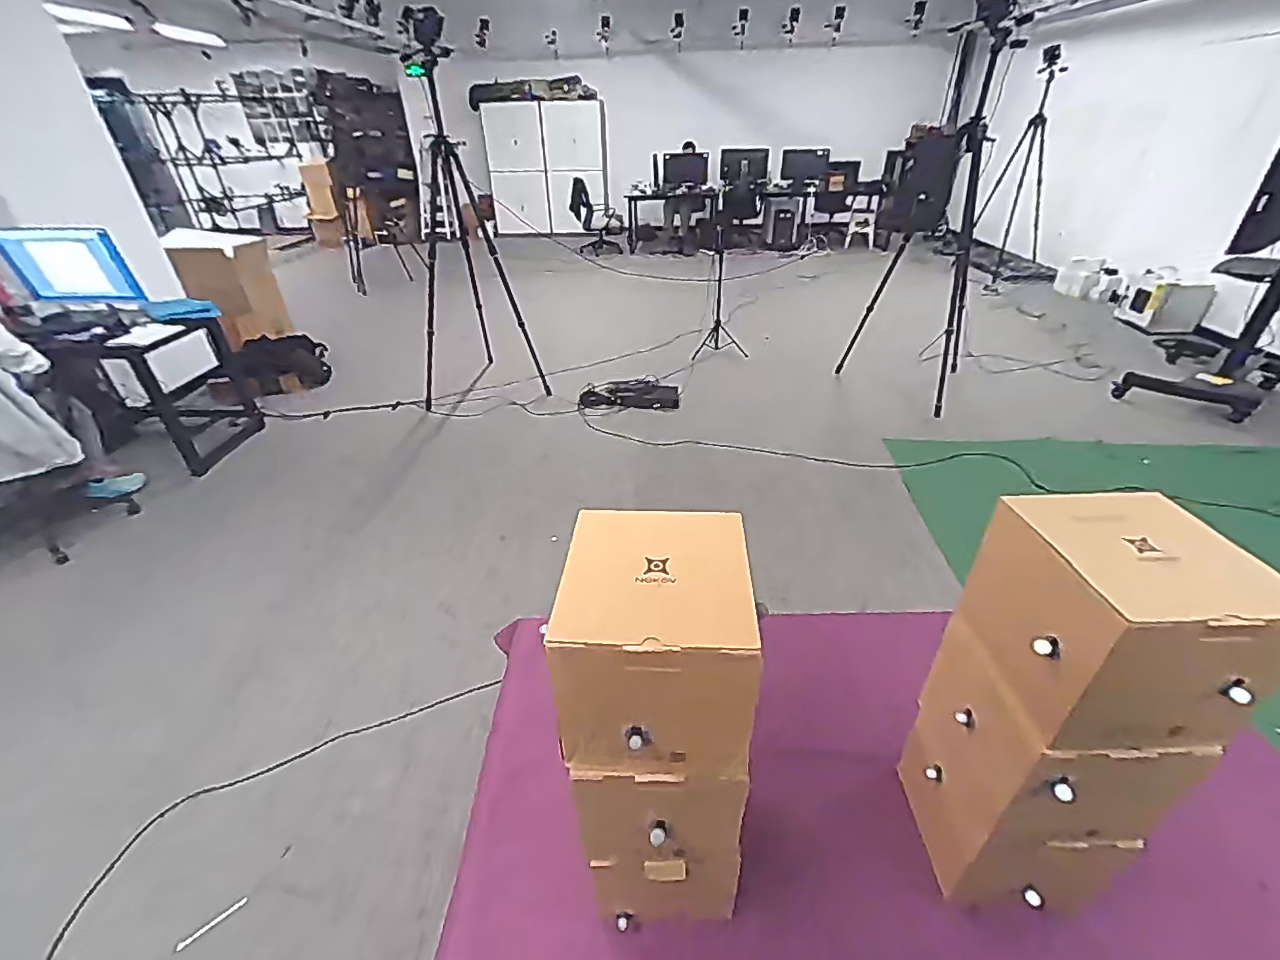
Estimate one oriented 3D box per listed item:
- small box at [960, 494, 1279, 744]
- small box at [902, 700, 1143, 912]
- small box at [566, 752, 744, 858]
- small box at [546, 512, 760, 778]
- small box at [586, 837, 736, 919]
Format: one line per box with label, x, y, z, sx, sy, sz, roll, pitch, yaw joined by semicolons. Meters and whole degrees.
small box;0.448;0.131;0.520;0.168;0.176;0.179;-1;32;0
small box;0.460;0.410;0.691;0.168;0.176;0.179;-1;33;3
small box;0.019;0.291;0.601;0.168;0.176;0.179;0;34;2
small box;0.015;0.150;0.517;0.168;0.176;0.179;1;33;4
small box;0.027;0.429;0.689;0.168;0.176;0.179;-2;32;0
